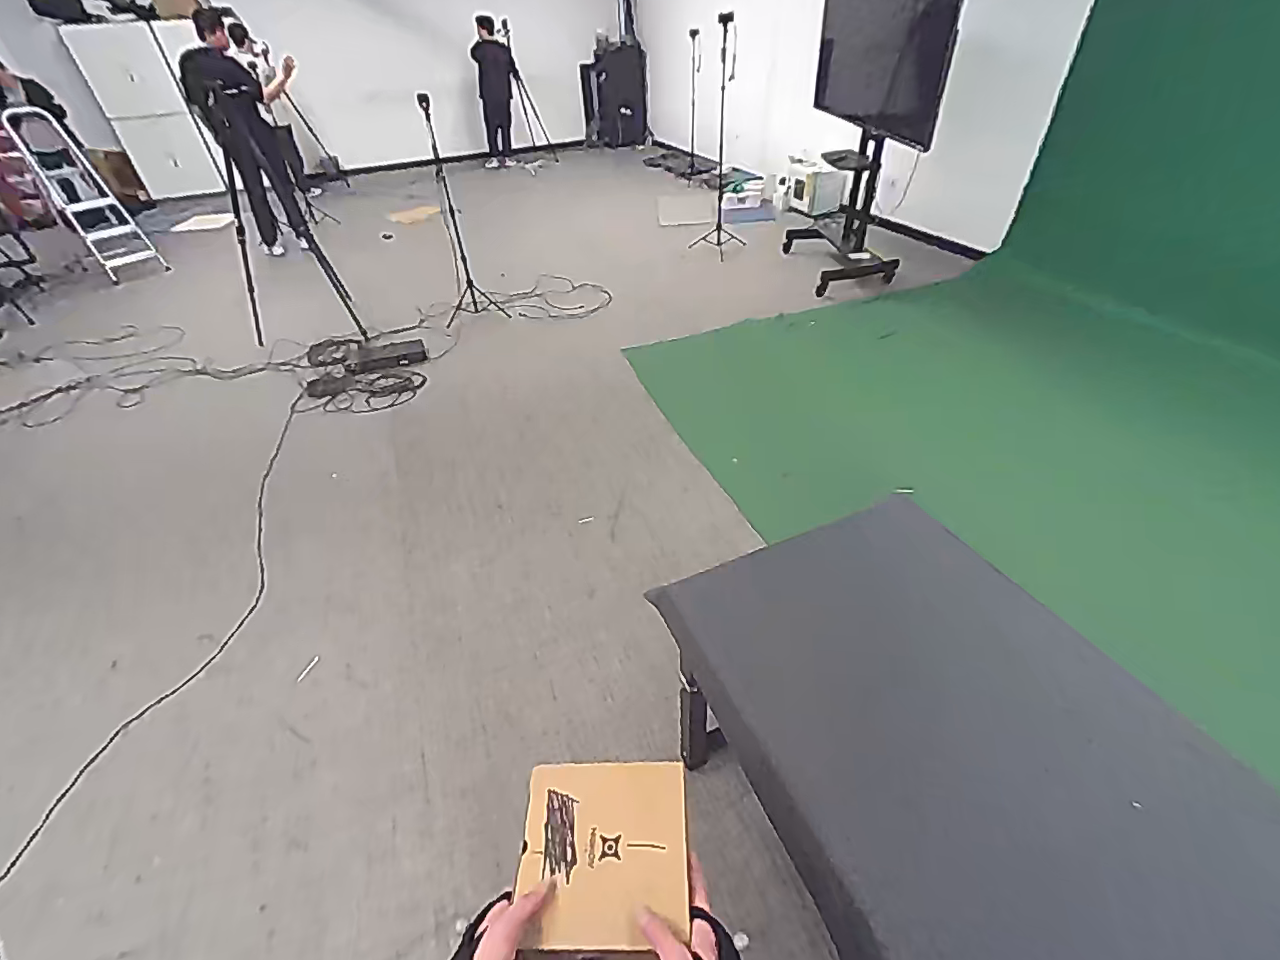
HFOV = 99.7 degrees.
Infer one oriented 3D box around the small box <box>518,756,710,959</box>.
[{"bbox_3d":[-0.018,0.422,0.589,0.179,0.176,0.168,-3,40,2],"label":"small box"}]
